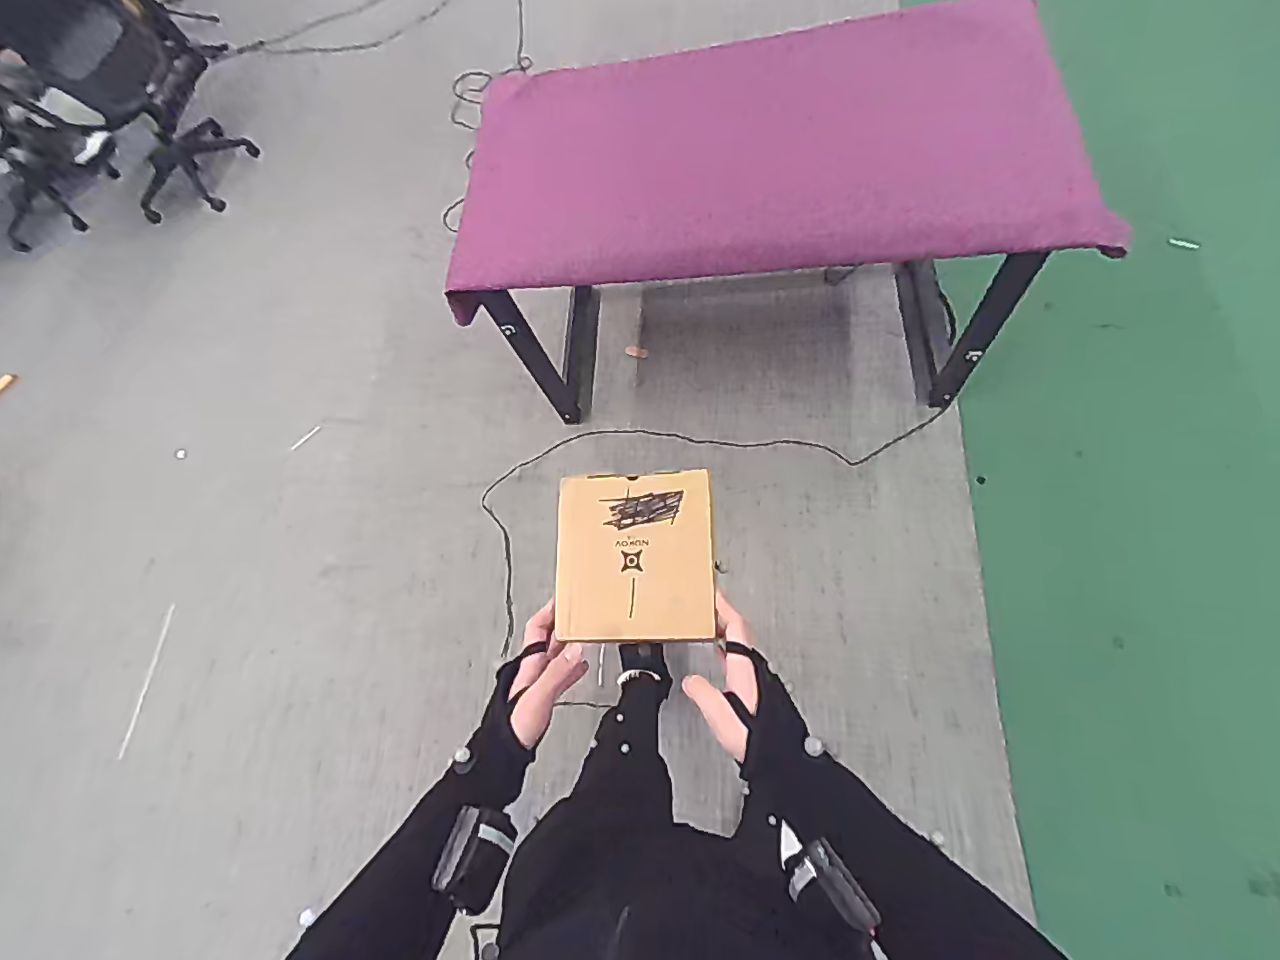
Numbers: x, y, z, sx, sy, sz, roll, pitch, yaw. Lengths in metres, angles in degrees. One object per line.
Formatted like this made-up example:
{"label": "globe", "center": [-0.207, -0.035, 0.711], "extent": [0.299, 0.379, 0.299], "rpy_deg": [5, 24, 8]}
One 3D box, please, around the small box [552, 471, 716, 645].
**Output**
{"label": "small box", "center": [0.003, 0.101, 0.640], "extent": [0.168, 0.176, 0.179], "rpy_deg": [-3, 72, 9]}
